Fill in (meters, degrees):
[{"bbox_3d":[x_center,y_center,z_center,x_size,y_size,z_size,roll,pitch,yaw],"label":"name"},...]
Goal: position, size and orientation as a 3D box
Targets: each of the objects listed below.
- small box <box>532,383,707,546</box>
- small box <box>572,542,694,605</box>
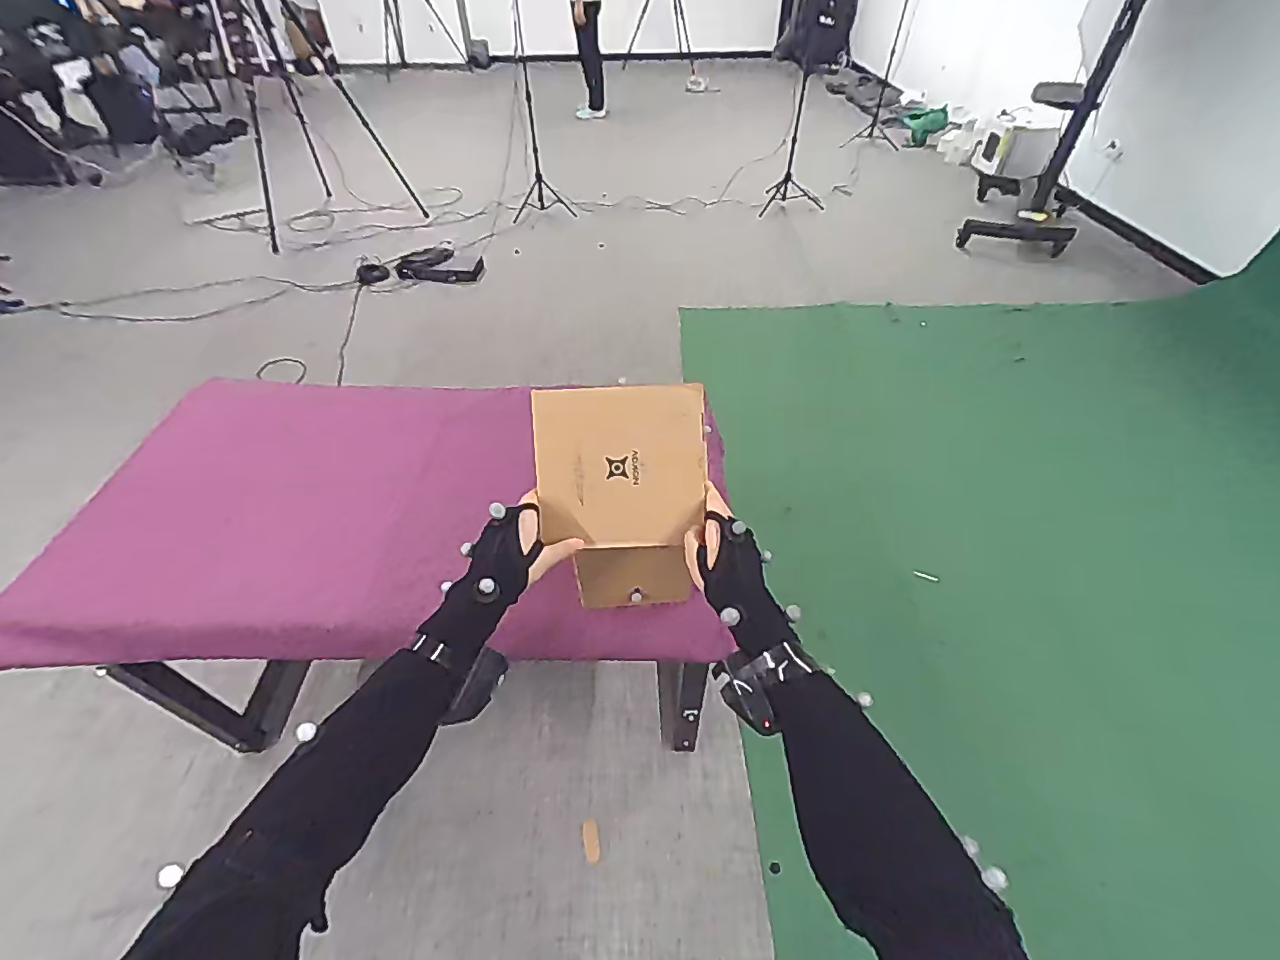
[{"bbox_3d":[-0.020,-0.020,0.629,0.179,0.168,0.176,-2,2,1],"label":"small box"},{"bbox_3d":[-0.015,0.086,0.870,0.179,0.176,0.168,-4,47,-2],"label":"small box"}]
